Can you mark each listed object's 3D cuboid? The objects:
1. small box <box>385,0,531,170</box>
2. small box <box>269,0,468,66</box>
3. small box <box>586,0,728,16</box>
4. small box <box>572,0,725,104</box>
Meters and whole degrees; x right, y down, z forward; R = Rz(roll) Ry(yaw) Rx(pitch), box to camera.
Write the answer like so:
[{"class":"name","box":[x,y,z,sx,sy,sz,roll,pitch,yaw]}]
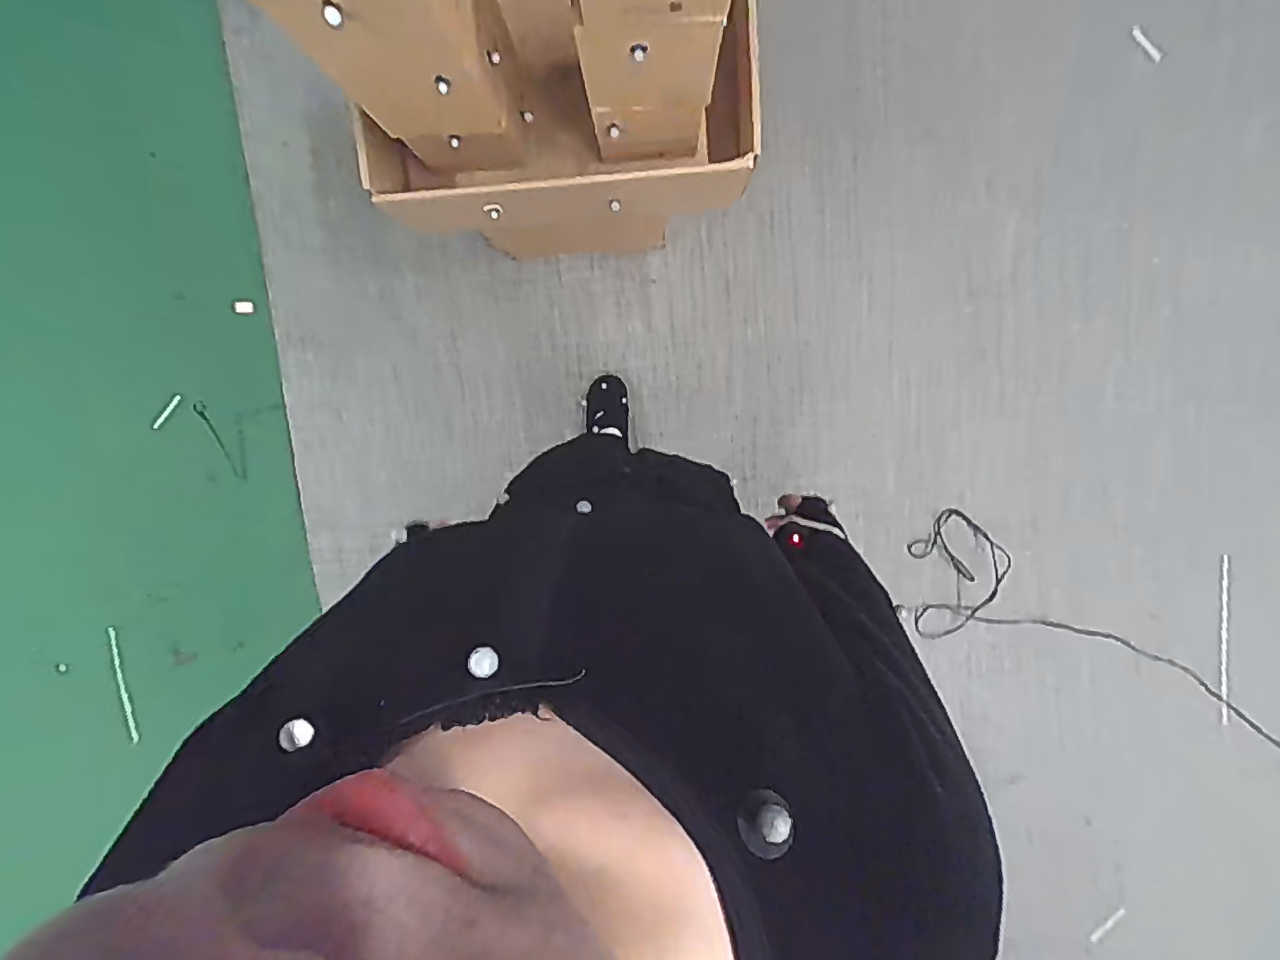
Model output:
[{"class":"small box","box":[-0.282,-0.615,0.862,0.179,0.176,0.168,-2,98,1]},{"class":"small box","box":[-0.290,-0.552,0.541,0.179,0.176,0.168,-1,98,2]},{"class":"small box","box":[0.013,-0.592,0.520,0.168,0.176,0.179,-3,97,1]},{"class":"small box","box":[0.012,-0.608,0.685,0.179,0.176,0.168,0,97,1]}]
